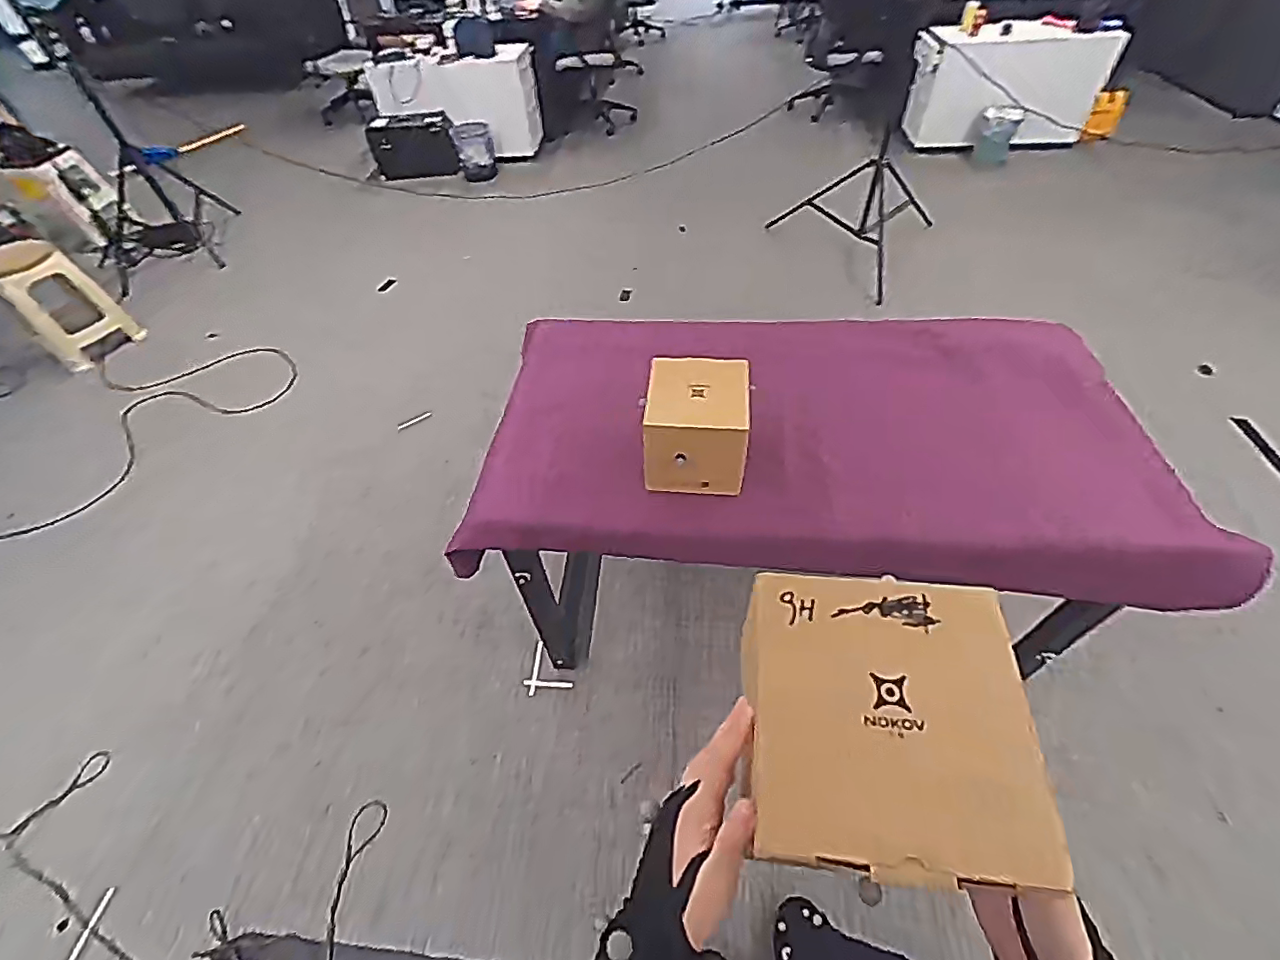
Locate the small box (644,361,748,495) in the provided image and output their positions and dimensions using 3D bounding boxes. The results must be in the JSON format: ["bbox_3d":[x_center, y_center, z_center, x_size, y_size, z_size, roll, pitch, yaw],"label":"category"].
[{"bbox_3d":[0.101,-0.090,0.954,0.168,0.176,0.179,3,49,6],"label":"small box"}]

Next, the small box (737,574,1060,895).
[{"bbox_3d":[0.165,0.191,0.414,0.168,0.176,0.179,3,56,7],"label":"small box"}]
